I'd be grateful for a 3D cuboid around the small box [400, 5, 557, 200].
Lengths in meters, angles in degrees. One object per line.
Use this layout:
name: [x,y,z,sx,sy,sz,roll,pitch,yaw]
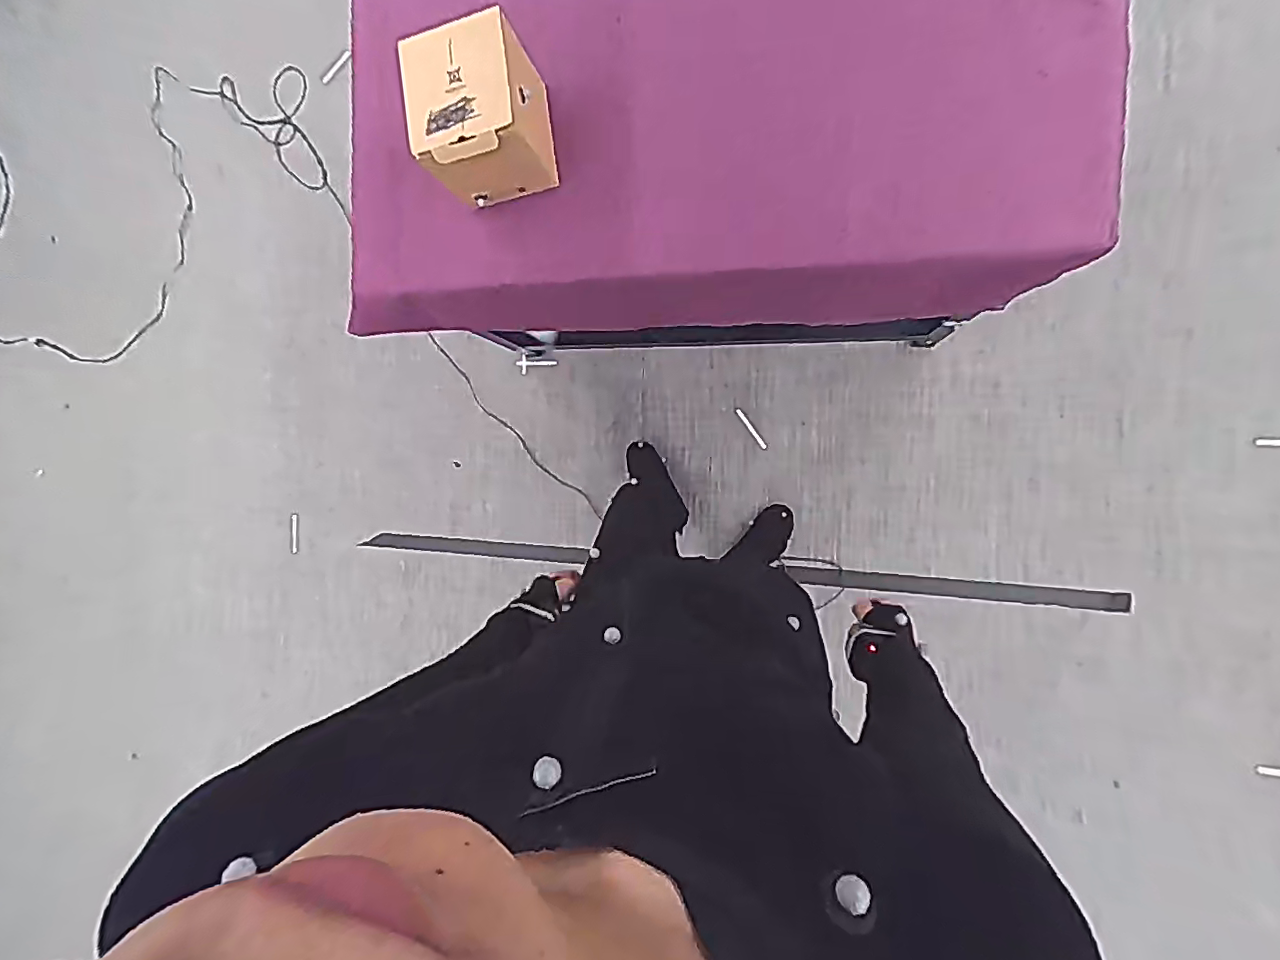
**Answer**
small box: [-0.241,-0.564,0.843,0.168,0.176,0.179,-8,89,13]
